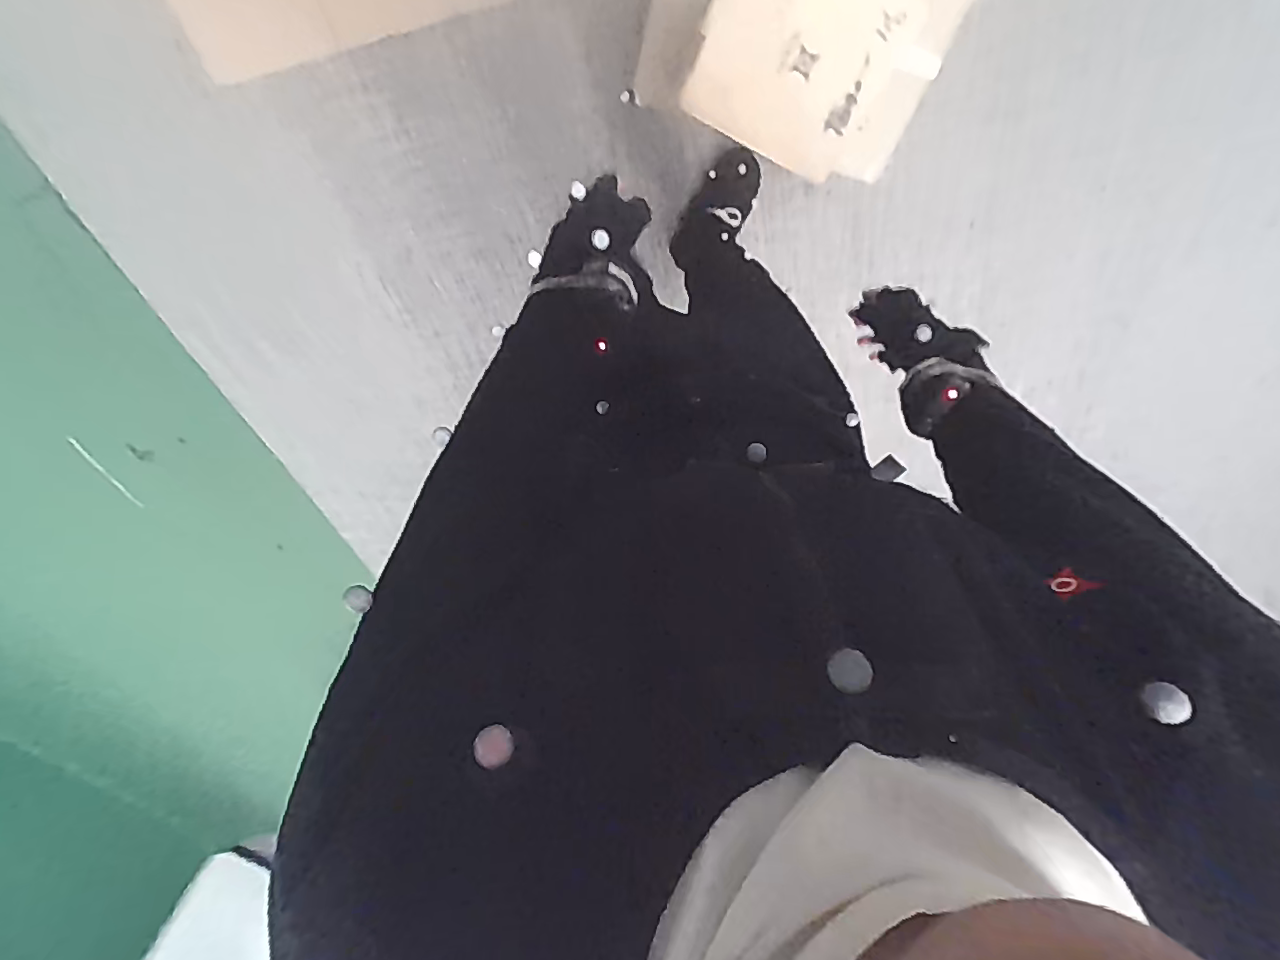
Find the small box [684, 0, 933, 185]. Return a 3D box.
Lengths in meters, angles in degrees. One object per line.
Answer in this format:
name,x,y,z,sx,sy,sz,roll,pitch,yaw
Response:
small box,0.158,-0.446,0.575,0.179,0.176,0.168,19,128,-10
